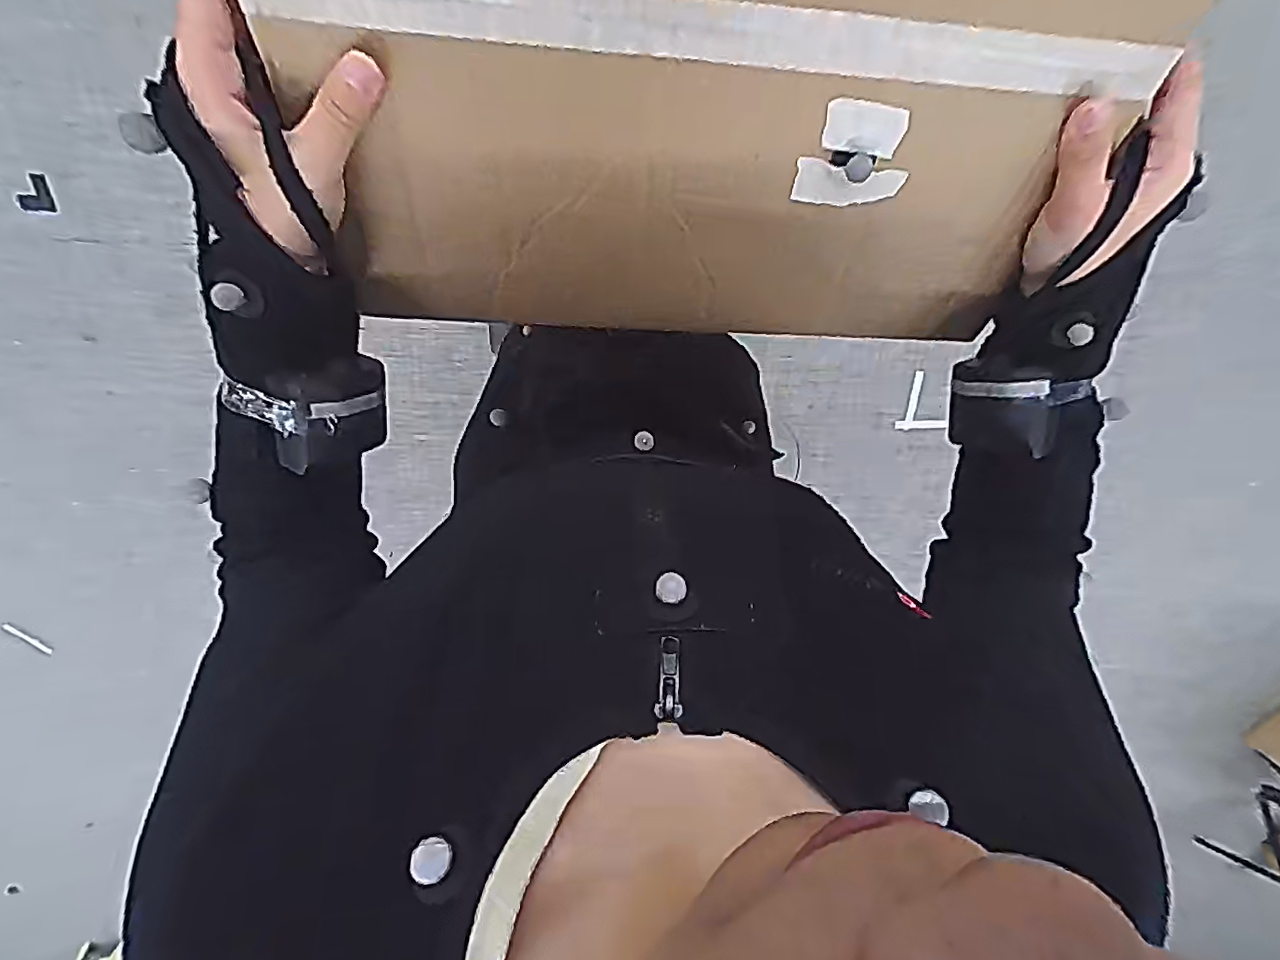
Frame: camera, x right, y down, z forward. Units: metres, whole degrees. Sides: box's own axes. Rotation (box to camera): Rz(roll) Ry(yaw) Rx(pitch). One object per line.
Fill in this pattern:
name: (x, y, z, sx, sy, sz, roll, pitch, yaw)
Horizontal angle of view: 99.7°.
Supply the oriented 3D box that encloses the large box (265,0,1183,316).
large box: (0.029, -0.321, 0.325, 0.408, 0.320, 0.320, -1, 145, -8)
